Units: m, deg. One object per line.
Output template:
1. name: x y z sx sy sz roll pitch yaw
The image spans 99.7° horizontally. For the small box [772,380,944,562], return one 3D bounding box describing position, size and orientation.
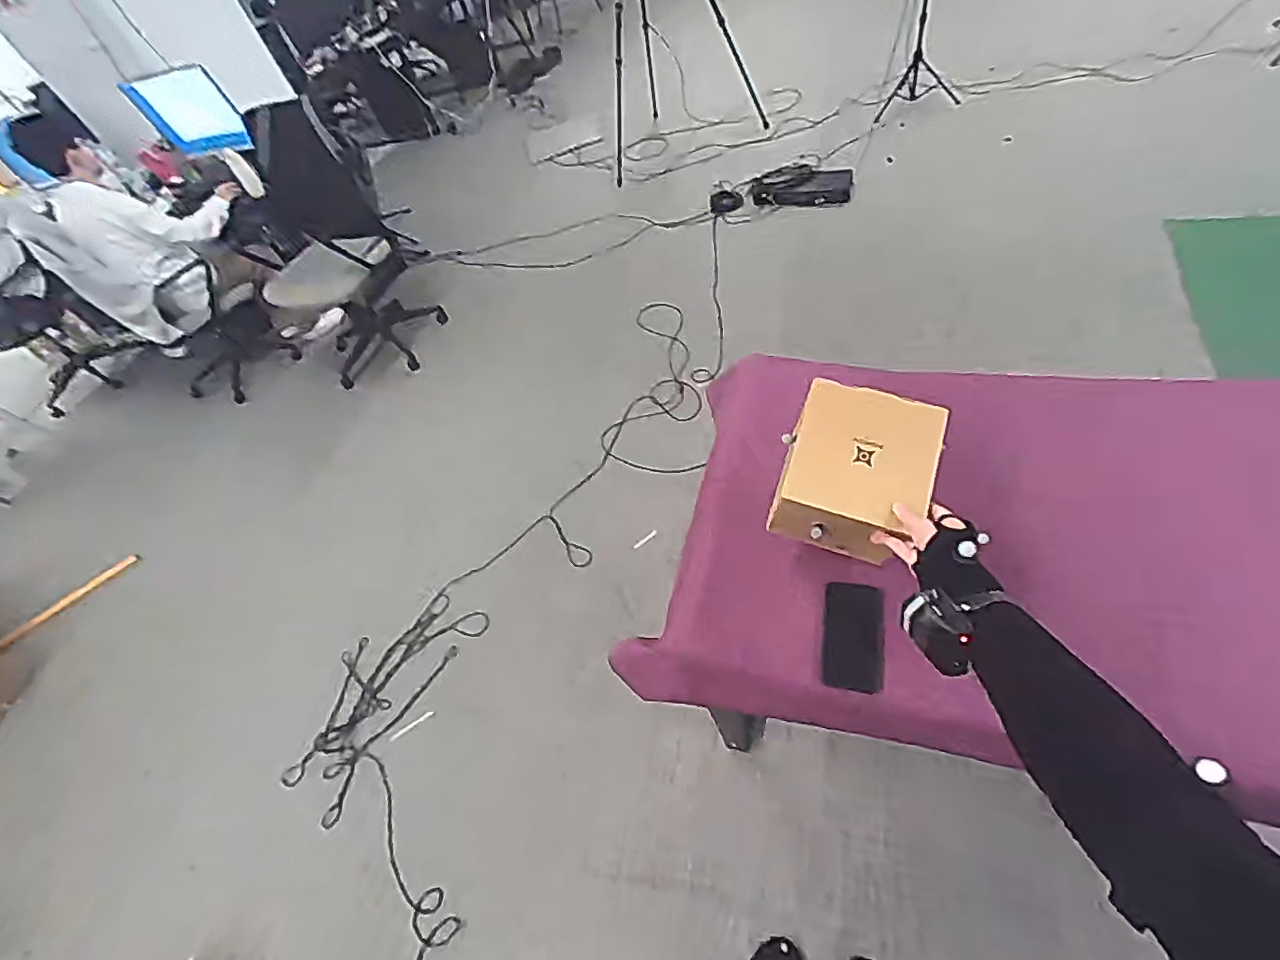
1. small box: 0.282 -0.004 0.732 0.168 0.176 0.179 16 71 14
